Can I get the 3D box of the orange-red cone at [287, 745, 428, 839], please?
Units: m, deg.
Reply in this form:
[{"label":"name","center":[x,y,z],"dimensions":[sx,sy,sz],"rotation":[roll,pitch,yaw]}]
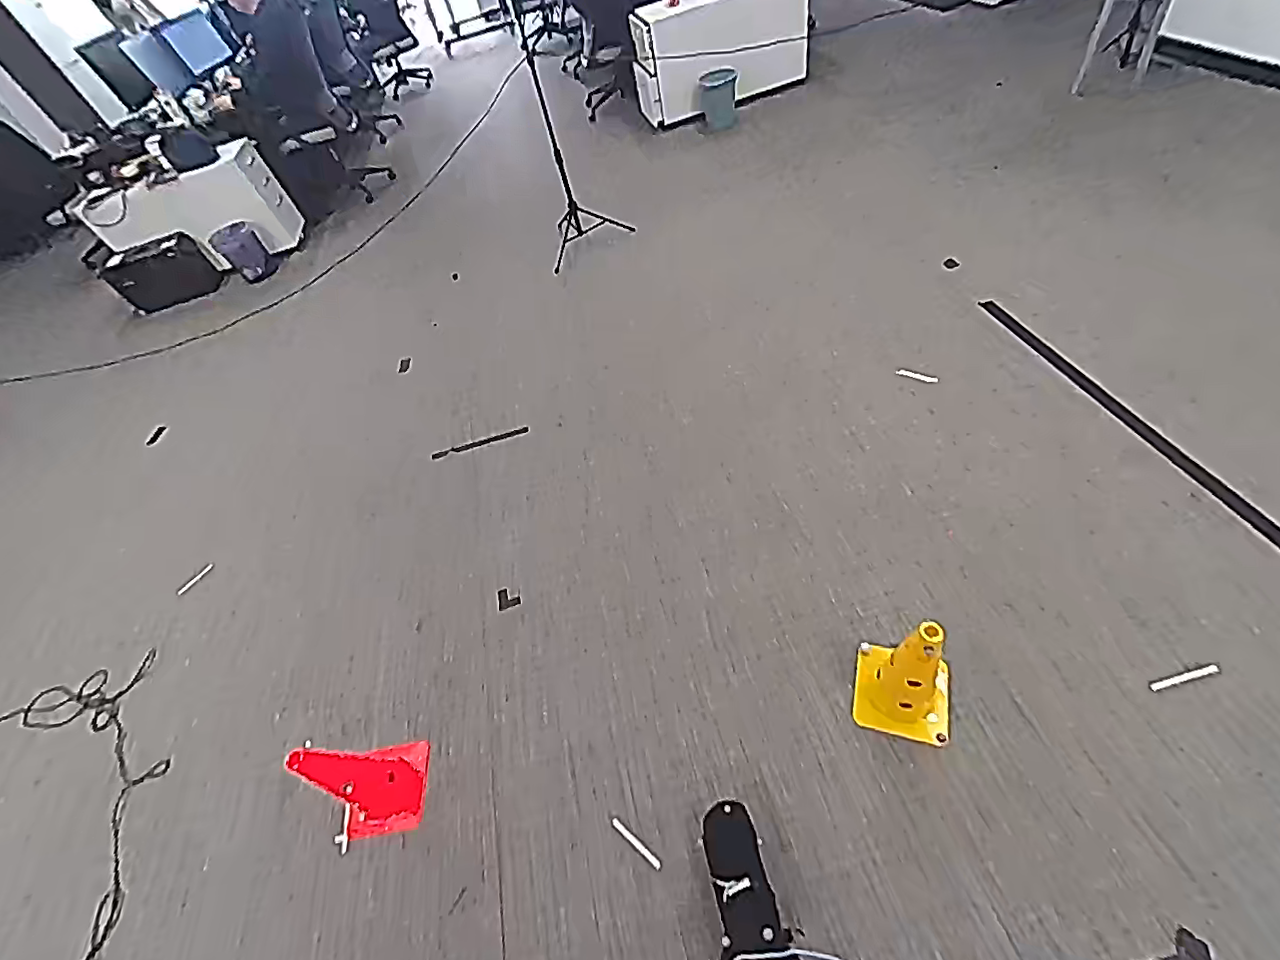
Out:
[{"label":"orange-red cone","center":[-0.678,0.692,1.253],"dimensions":[0.199,0.360,0.198],"rotation":[-12,51,4]}]
